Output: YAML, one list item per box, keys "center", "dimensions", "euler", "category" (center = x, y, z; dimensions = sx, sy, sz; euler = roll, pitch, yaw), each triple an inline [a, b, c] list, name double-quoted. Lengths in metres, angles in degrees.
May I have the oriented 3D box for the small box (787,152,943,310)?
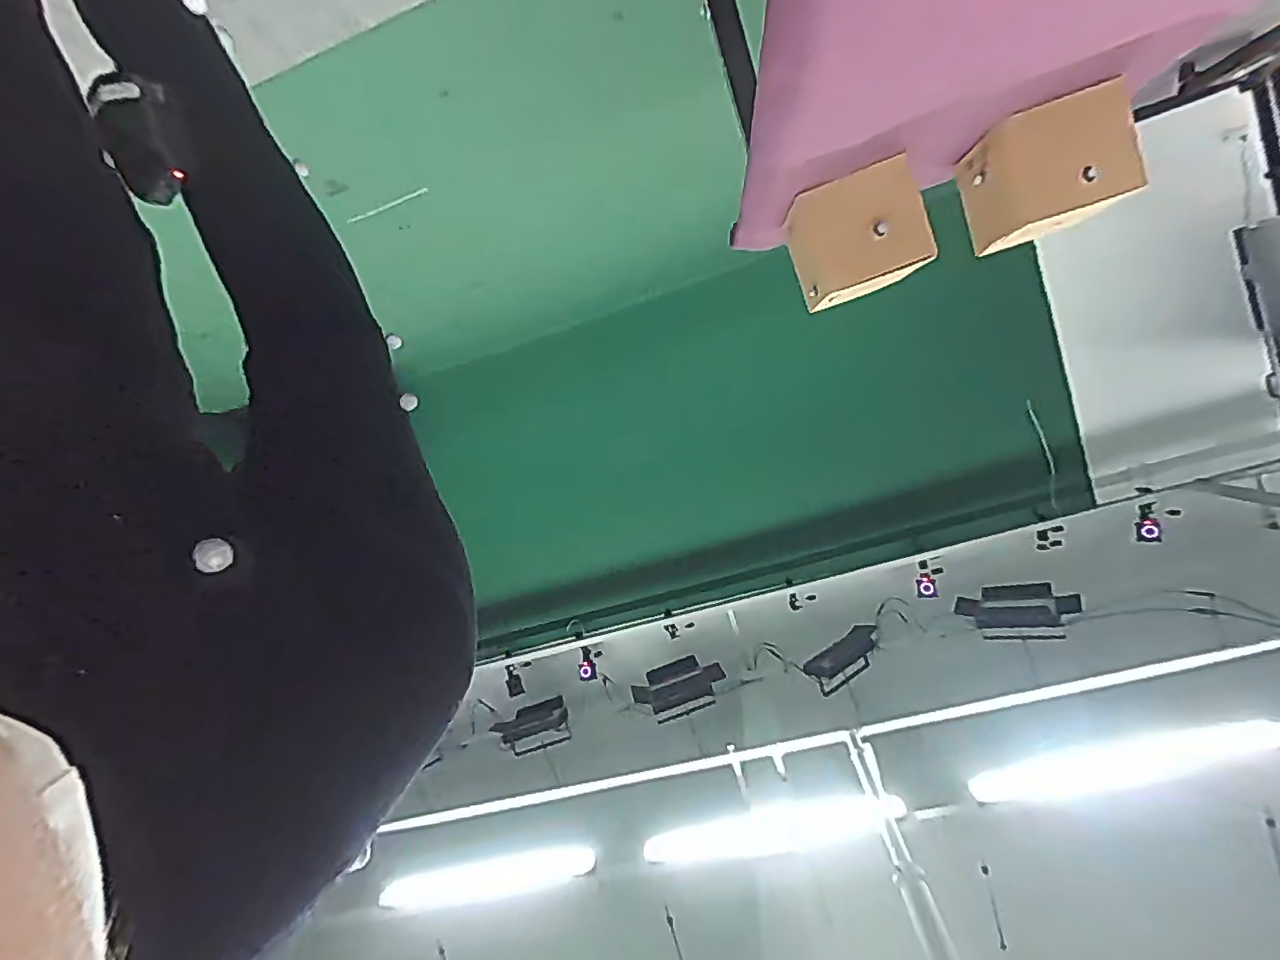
- center: [0.373, -0.417, 0.923]
  dimensions: [0.179, 0.176, 0.168]
  euler: [-20, -177, 8]
  category: "small box"

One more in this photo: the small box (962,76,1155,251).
- center: [0.671, -0.510, 0.888]
  dimensions: [0.179, 0.176, 0.168]
  euler: [-16, -177, 9]
  category: "small box"
